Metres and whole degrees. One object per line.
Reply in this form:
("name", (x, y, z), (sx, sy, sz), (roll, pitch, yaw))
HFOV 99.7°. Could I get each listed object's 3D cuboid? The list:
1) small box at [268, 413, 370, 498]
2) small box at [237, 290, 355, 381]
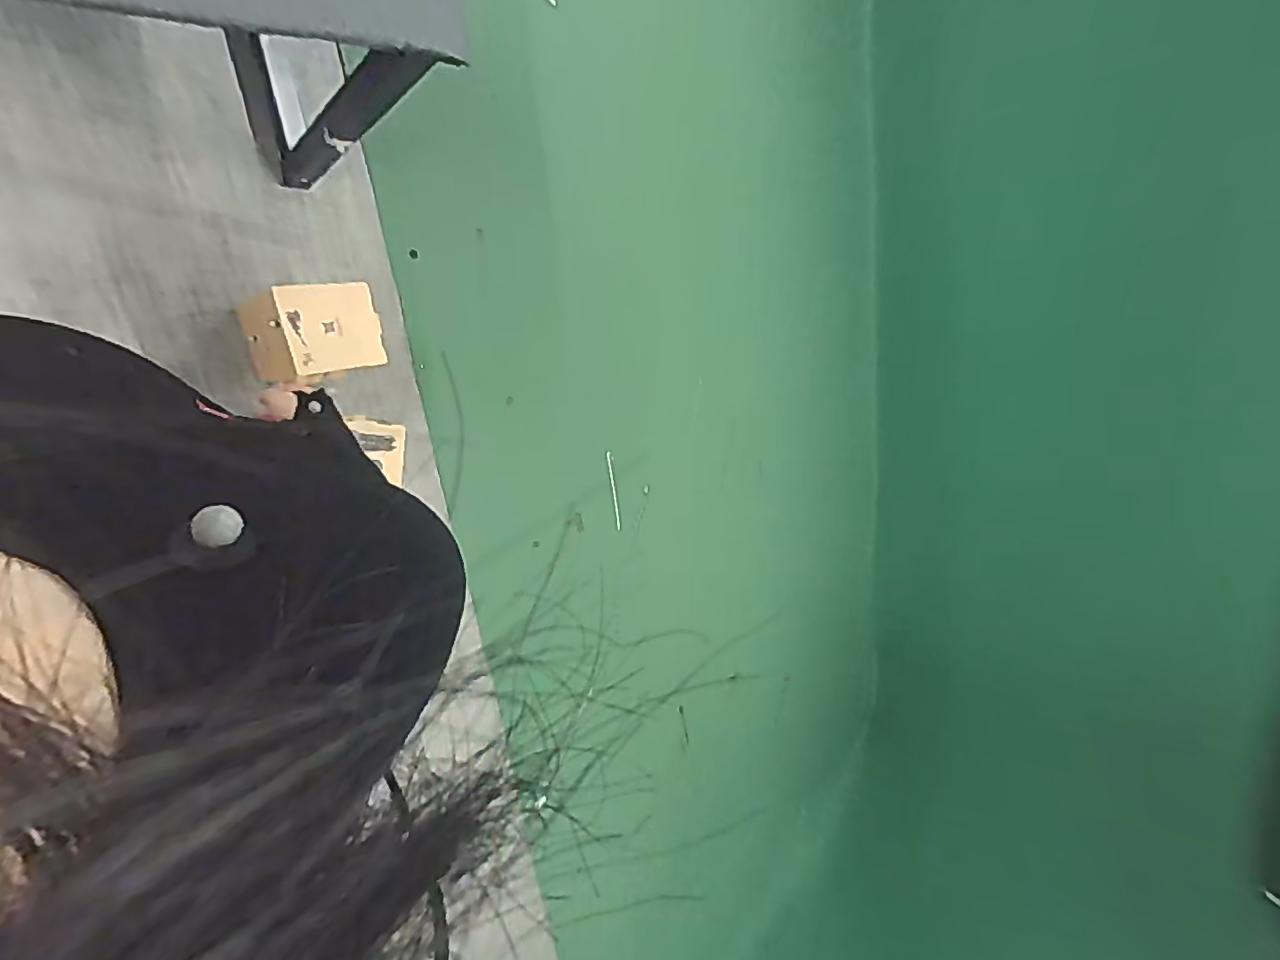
("small box", (-0.759, -0.065, 1.279), (0.168, 0.176, 0.179), (-11, 104, -44))
("small box", (-0.777, -0.324, 1.221), (0.168, 0.176, 0.179), (-24, 111, -41))
